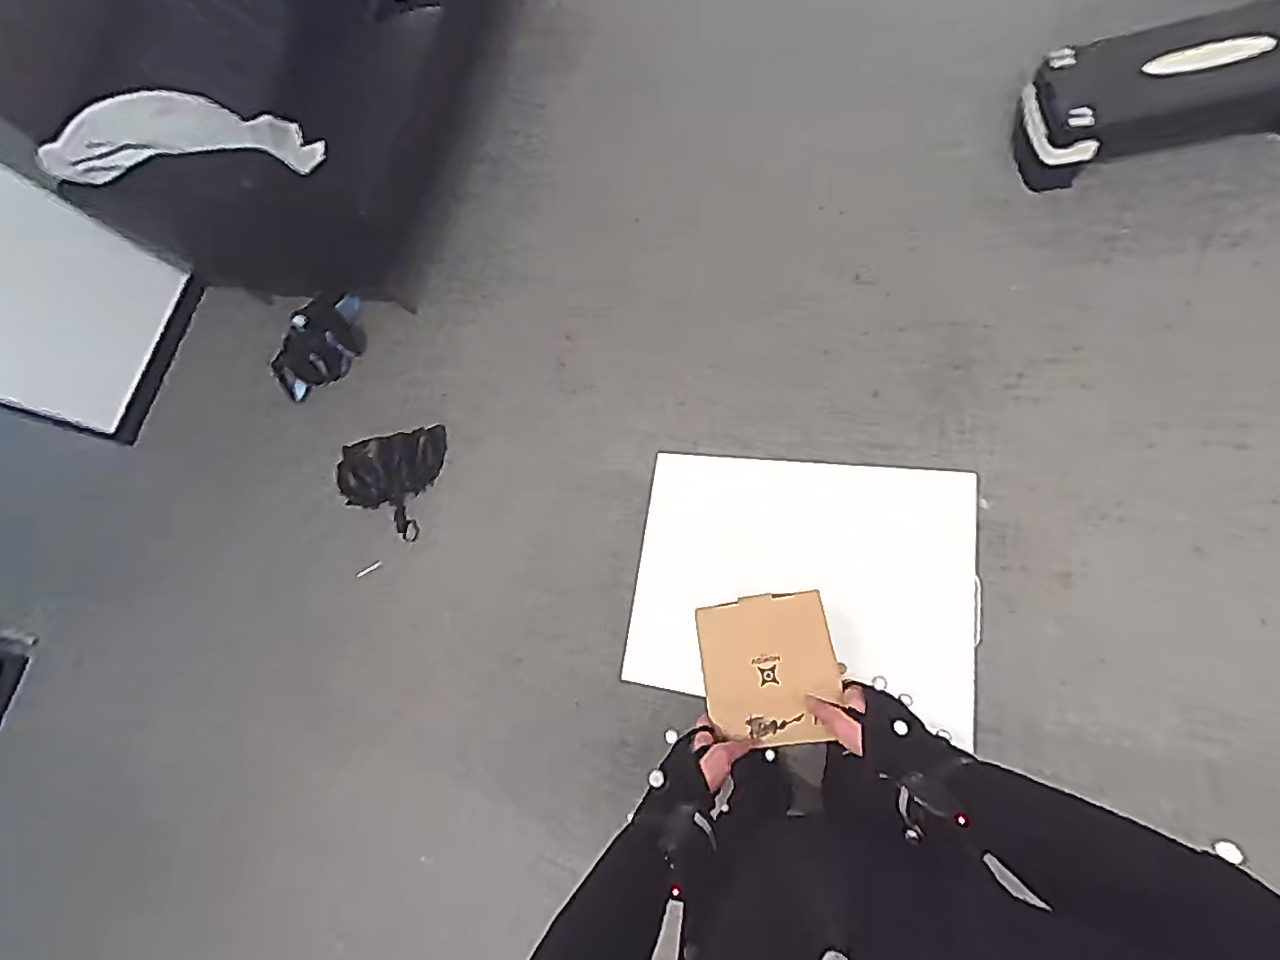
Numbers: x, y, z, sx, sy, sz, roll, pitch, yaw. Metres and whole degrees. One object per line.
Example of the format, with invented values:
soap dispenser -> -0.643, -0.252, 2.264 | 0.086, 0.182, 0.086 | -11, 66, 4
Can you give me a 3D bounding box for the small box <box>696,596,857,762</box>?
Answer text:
small box -> 0.182, 0.276, 0.733 | 0.168, 0.176, 0.179 | -14, 60, 12
